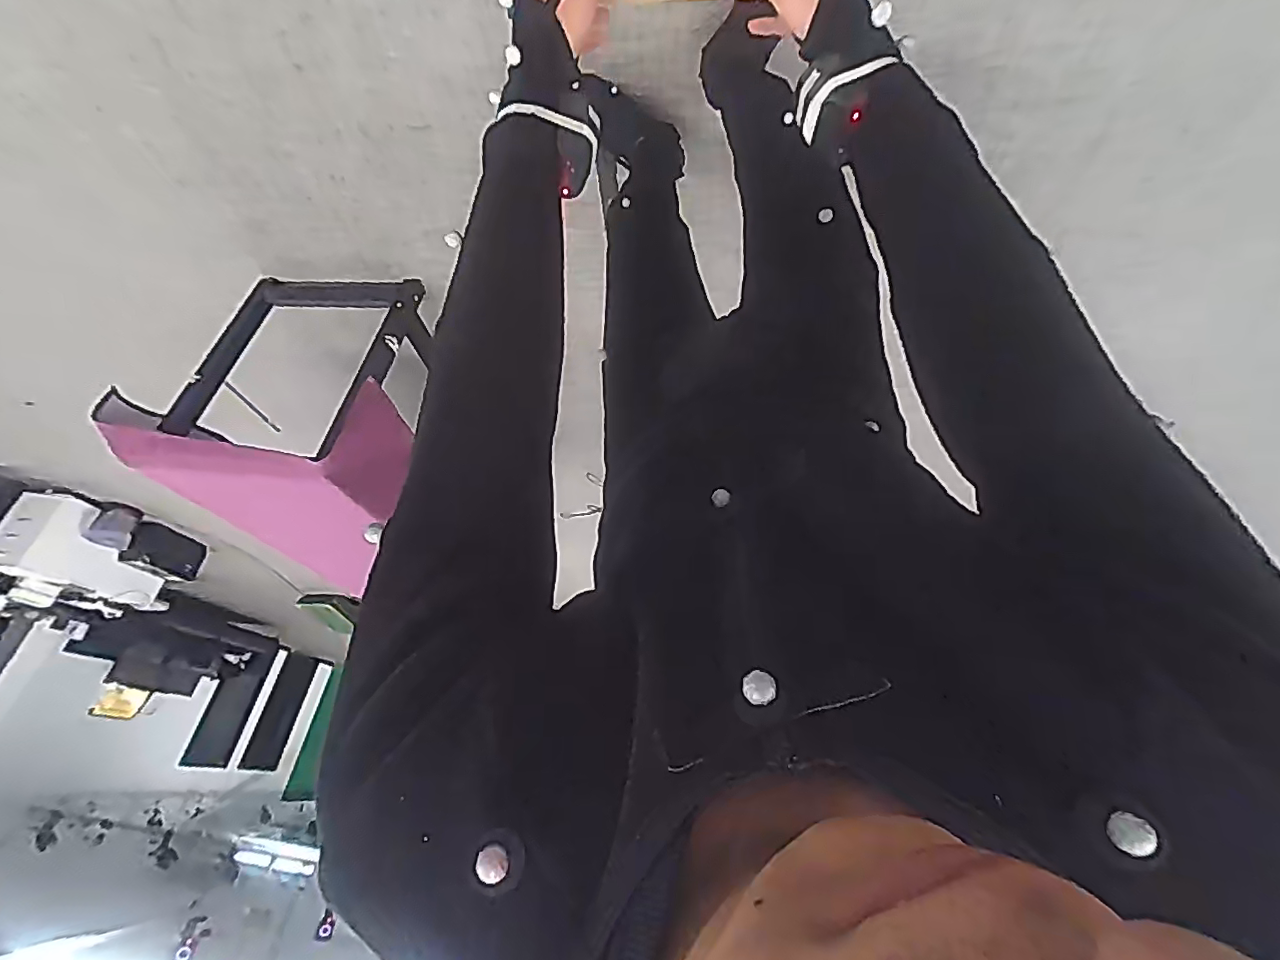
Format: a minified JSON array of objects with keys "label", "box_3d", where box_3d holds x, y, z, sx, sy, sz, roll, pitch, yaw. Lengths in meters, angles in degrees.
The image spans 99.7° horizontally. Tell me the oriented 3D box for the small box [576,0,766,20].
[{"label":"small box","box_3d":[0.031,-0.540,0.471,0.179,0.176,0.168,4,150,7]}]
